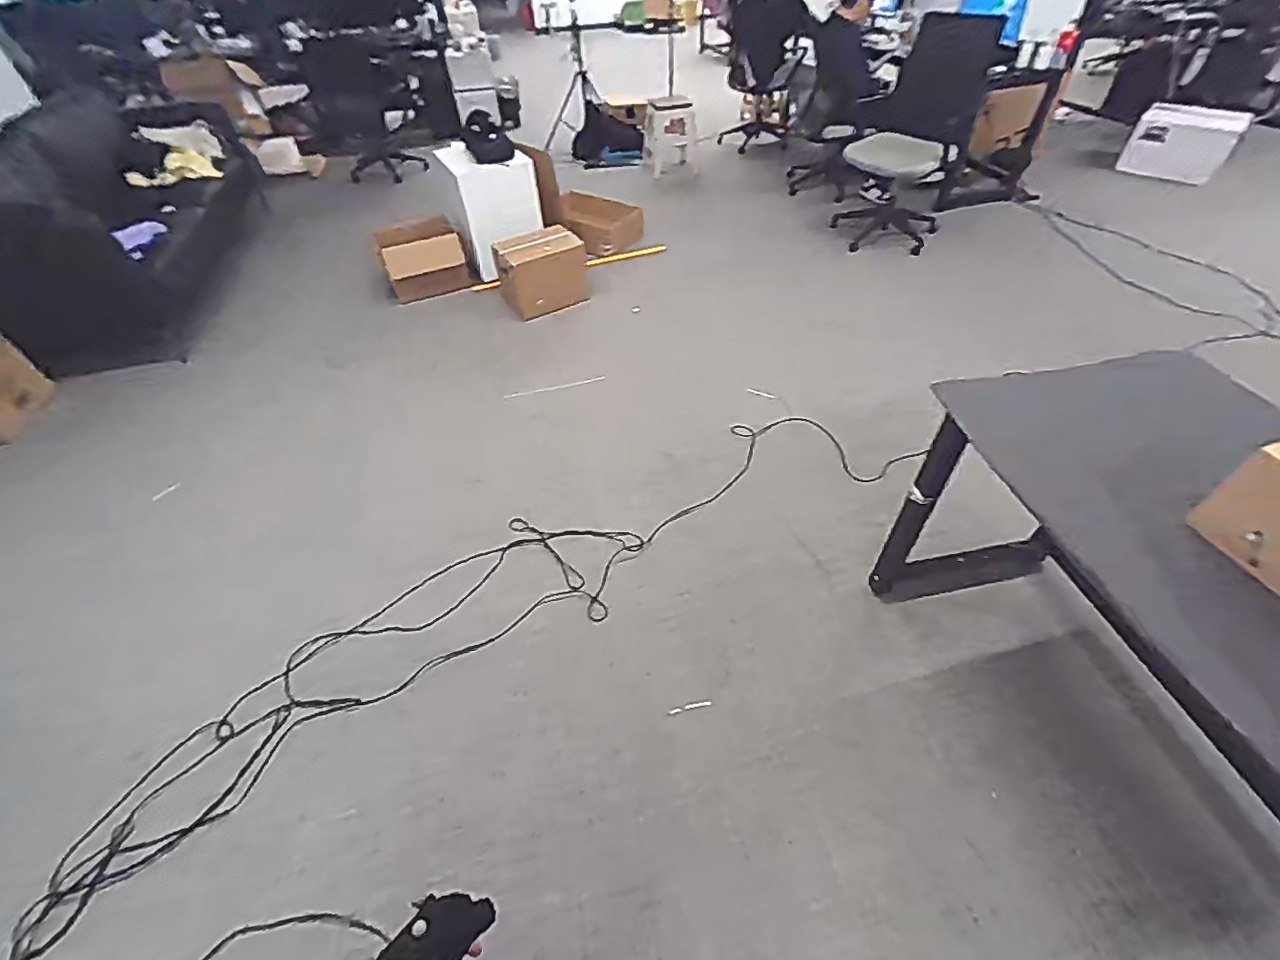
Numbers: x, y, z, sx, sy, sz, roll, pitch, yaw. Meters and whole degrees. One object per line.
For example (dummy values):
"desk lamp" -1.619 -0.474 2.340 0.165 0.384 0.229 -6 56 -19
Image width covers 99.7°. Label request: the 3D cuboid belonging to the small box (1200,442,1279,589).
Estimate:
"small box" 1.011 0.045 0.795 0.179 0.176 0.168 -12 47 -9
